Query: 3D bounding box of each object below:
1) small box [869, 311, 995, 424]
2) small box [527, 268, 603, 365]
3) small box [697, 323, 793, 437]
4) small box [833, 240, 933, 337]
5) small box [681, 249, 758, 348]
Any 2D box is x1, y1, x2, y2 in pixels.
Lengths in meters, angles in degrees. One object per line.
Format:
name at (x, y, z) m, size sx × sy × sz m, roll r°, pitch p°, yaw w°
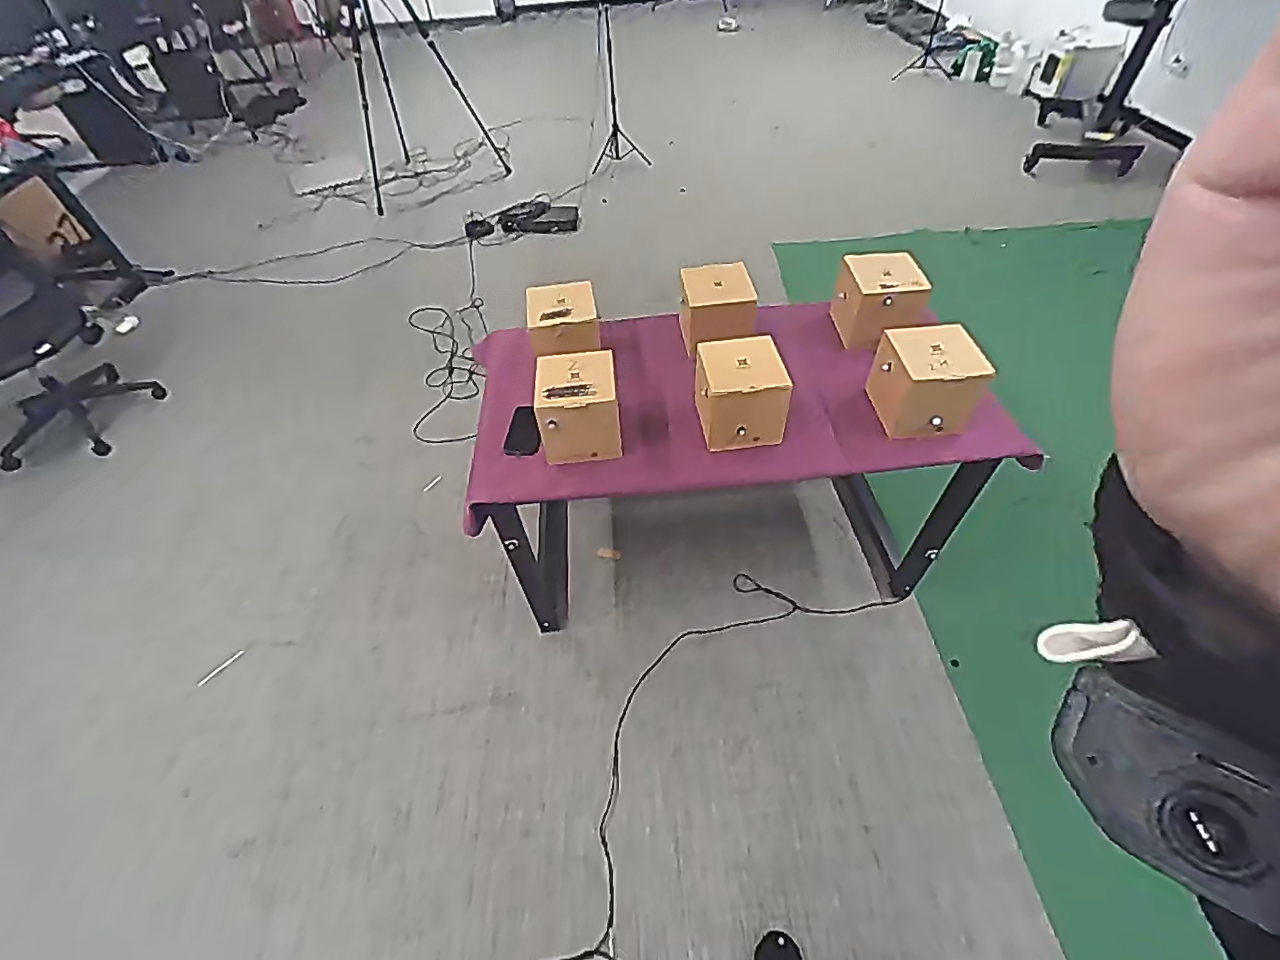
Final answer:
small box at (0.620, -0.243, 1.177) m, size 0.168 × 0.176 × 0.179 m, roll -4°, pitch 51°, yaw 2°
small box at (-0.188, -0.406, 1.366) m, size 0.168 × 0.176 × 0.179 m, roll -8°, pitch 51°, yaw -3°
small box at (0.220, -0.219, 1.190) m, size 0.168 × 0.176 × 0.179 m, roll -7°, pitch 51°, yaw -2°
small box at (0.606, -0.488, 1.379) m, size 0.168 × 0.176 × 0.179 m, roll -4°, pitch 51°, yaw 2°
small box at (0.196, -0.465, 1.390) m, size 0.168 × 0.176 × 0.179 m, roll -6°, pitch 52°, yaw 0°
